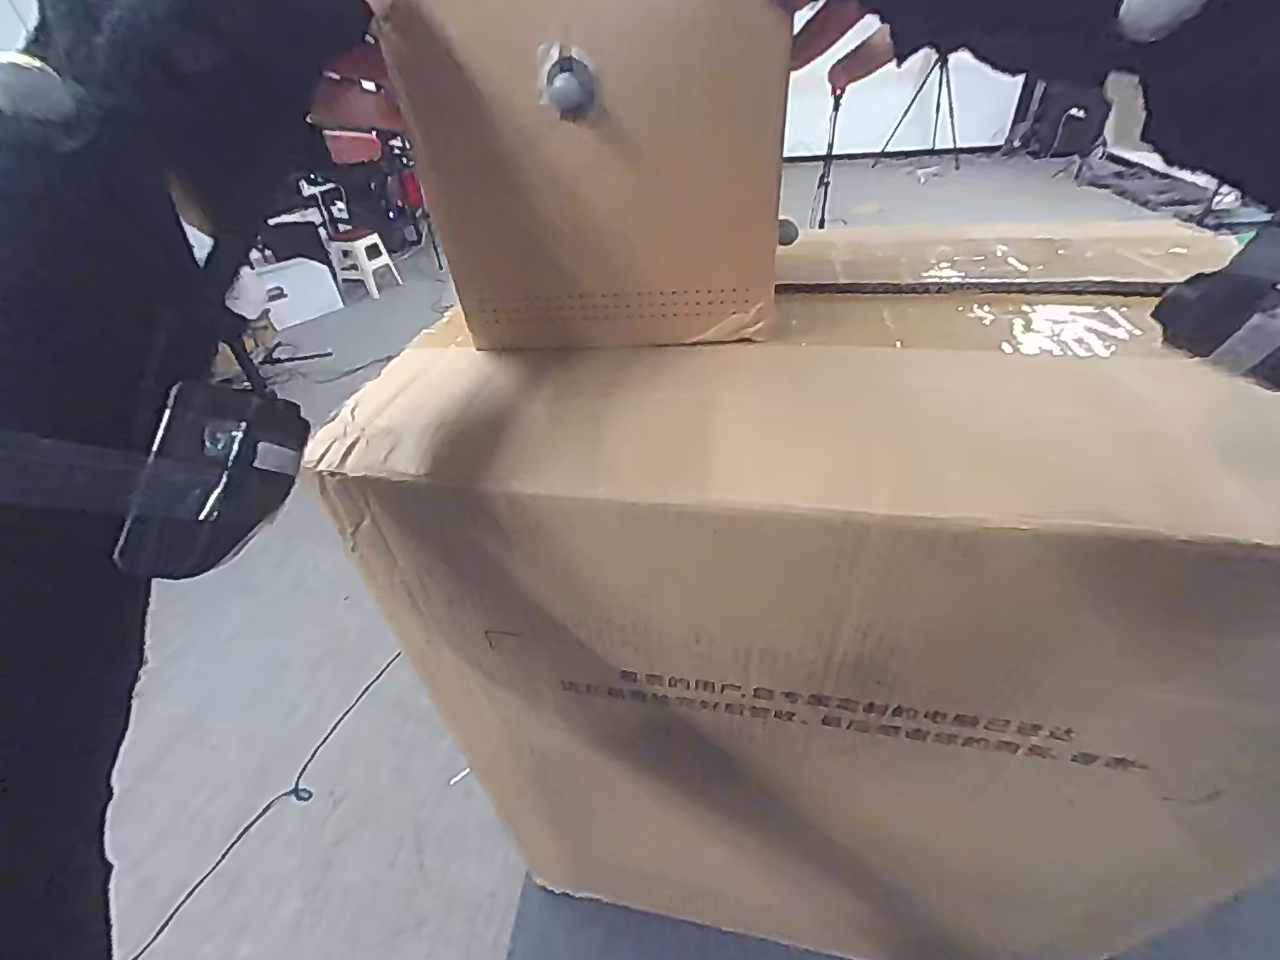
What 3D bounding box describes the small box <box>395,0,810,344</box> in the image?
[{"bbox_3d":[-0.002,-0.194,0.323,0.179,0.176,0.168,1,44,7],"label":"small box"}]
